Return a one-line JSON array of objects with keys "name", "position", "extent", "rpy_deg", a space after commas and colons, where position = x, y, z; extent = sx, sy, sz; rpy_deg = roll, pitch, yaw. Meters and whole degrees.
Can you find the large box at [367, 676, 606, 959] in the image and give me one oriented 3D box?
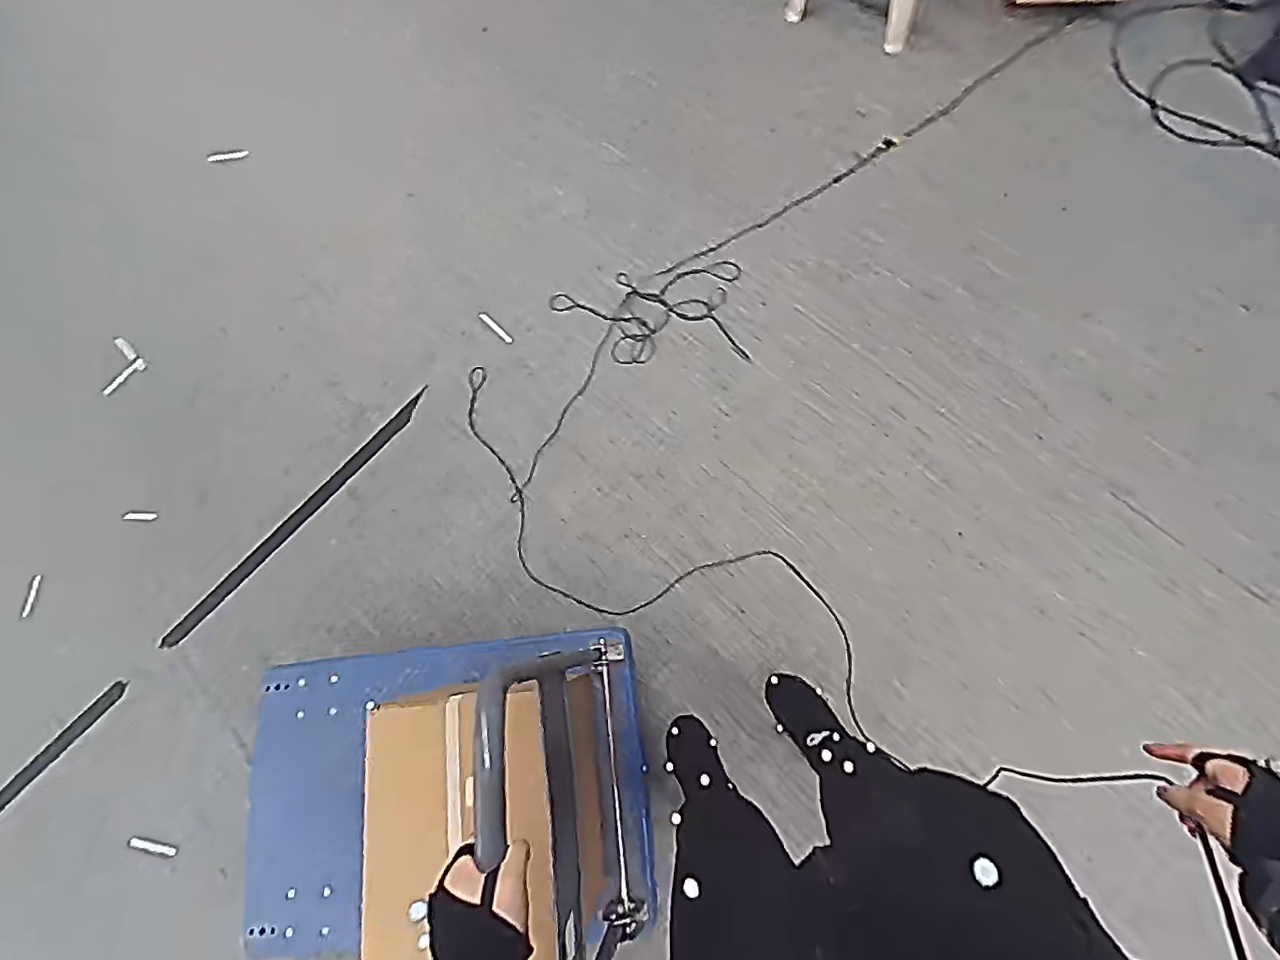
[{"name": "large box", "position": [-0.258, 0.592, 0.984], "extent": [0.320, 0.320, 0.408], "rpy_deg": [-8, 74, 5]}]
